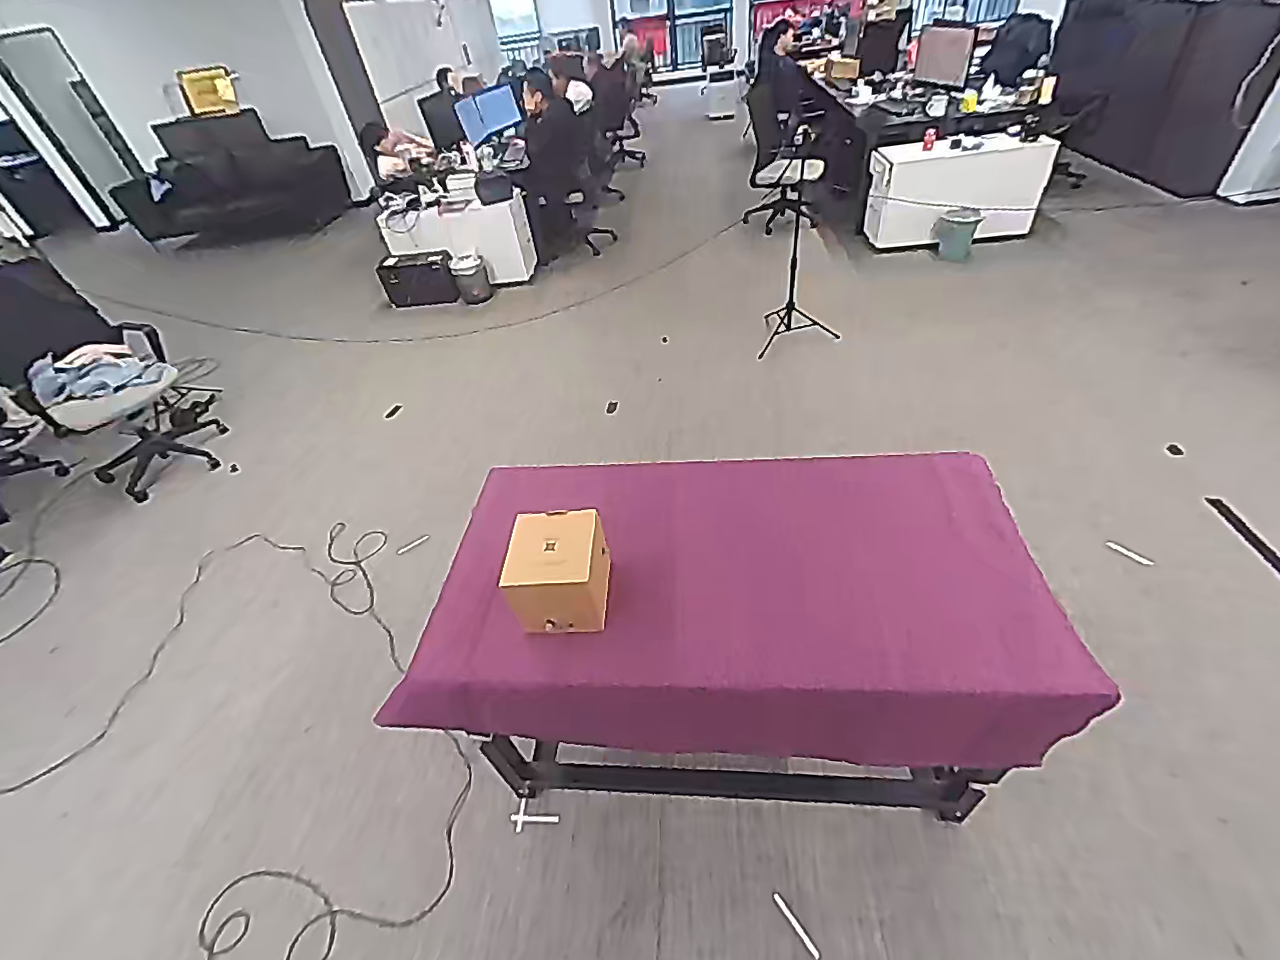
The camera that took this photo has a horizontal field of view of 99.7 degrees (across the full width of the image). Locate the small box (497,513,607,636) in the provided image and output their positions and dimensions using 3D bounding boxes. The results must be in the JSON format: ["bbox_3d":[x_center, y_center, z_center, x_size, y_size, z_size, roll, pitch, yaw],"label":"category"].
[{"bbox_3d":[-0.161,0.186,1.063,0.168,0.176,0.179,-3,43,6],"label":"small box"}]
